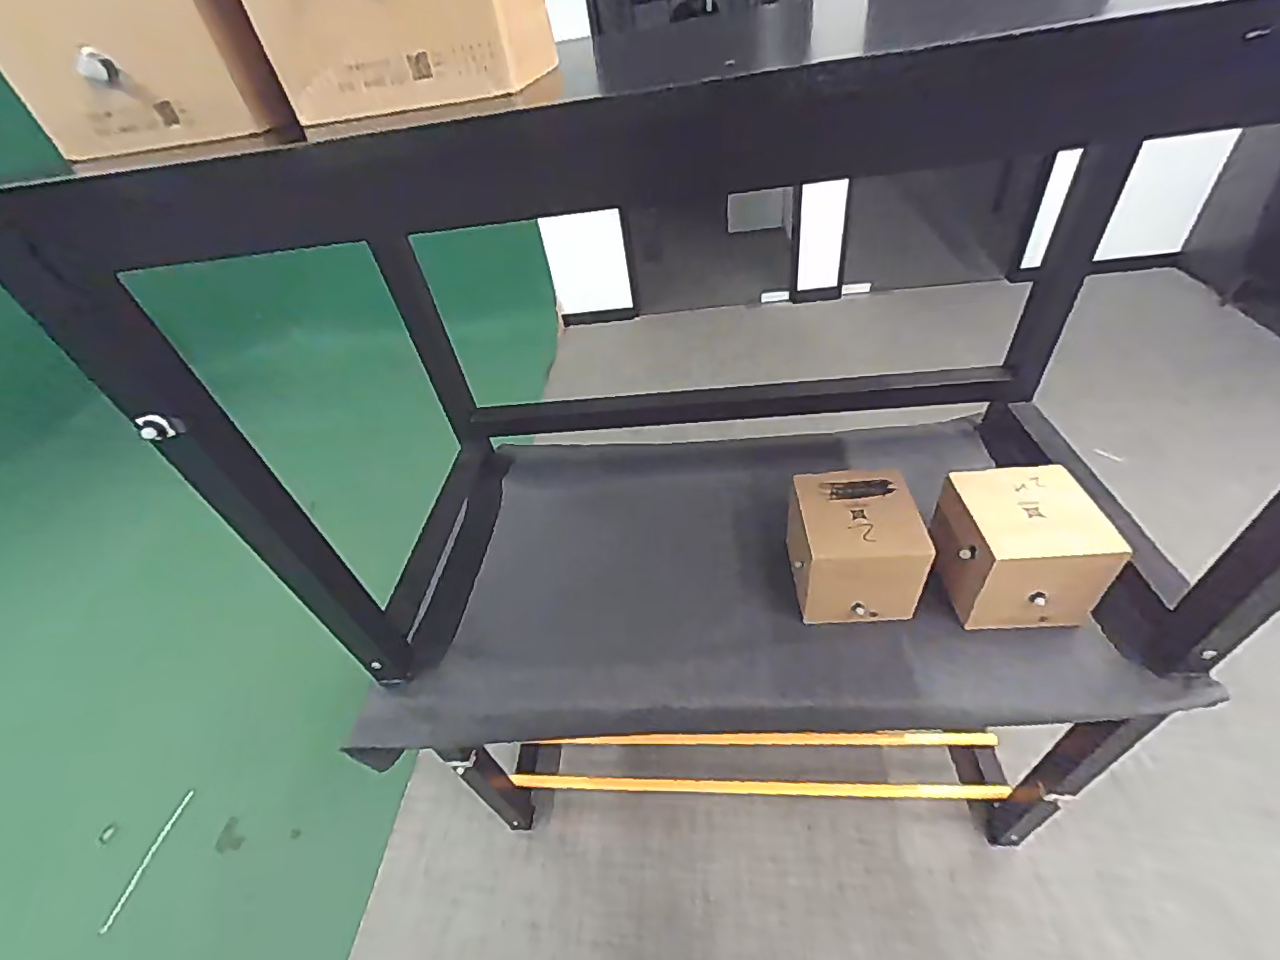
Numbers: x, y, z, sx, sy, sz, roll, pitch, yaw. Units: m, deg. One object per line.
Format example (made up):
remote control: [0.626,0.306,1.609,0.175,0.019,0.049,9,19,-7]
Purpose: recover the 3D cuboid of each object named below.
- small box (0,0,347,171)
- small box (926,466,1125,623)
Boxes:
small box: [-0.368,-0.360,0.425,0.168,0.176,0.179,-4,43,7]
small box: [0.559,0.103,0.816,0.168,0.176,0.179,-4,41,7]
